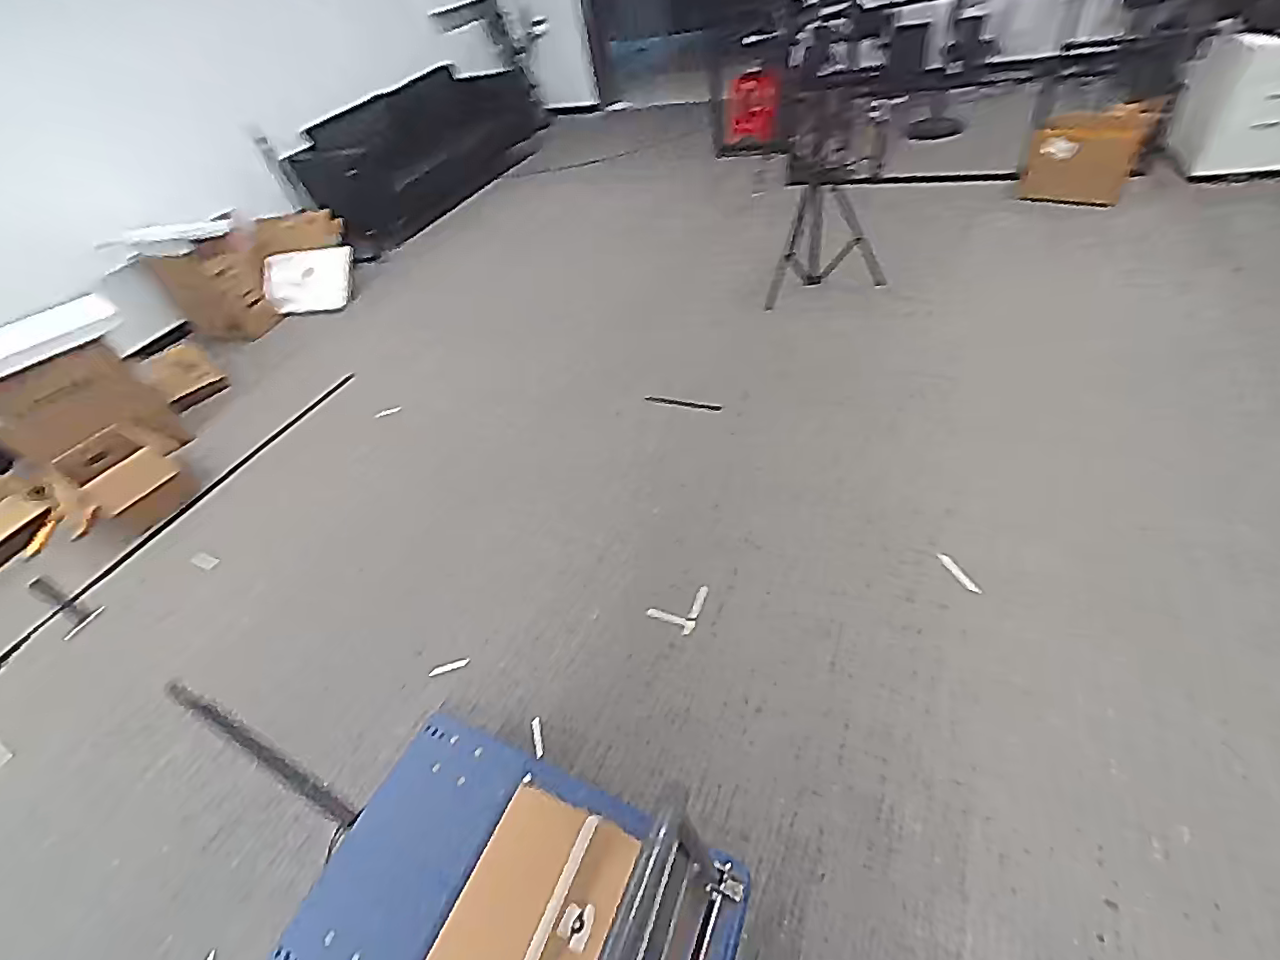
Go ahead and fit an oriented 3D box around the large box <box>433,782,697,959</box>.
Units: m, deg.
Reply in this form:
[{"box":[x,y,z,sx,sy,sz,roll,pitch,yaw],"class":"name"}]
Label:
[{"box":[-0.127,0.824,0.919,0.320,0.320,0.408,13,50,24],"class":"large box"}]
